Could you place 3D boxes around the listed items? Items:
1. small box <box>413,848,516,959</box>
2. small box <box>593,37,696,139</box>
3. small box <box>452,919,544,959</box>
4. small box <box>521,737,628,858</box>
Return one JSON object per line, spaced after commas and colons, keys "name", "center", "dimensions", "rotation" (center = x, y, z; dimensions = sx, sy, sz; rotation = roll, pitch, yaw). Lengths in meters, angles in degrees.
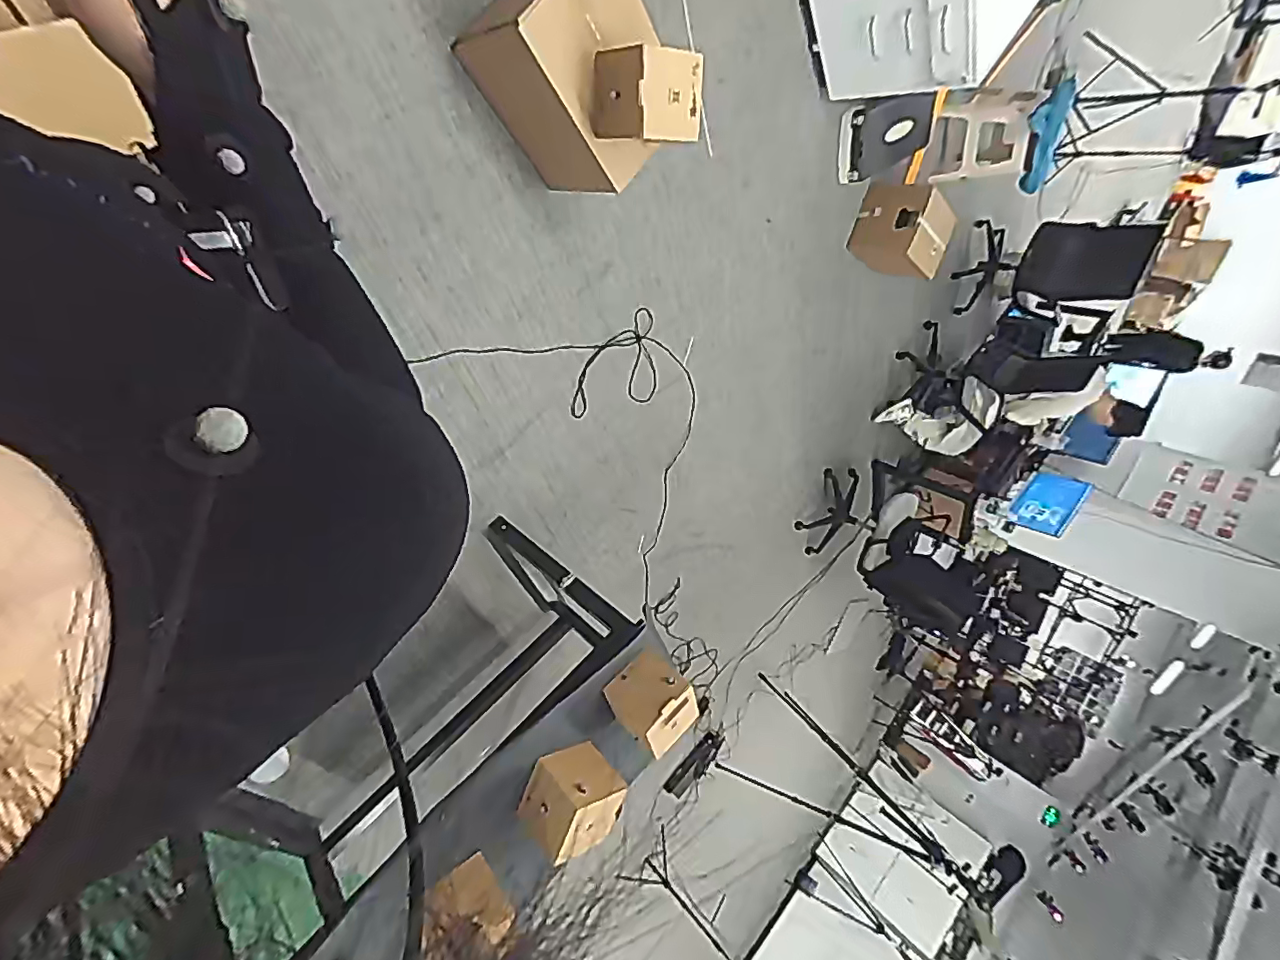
{"name": "small box", "center": [-0.402, 1.001, 1.229], "dimensions": [0.179, 0.176, 0.168], "rotation": [-17, 124, -41]}
{"name": "small box", "center": [0.004, -0.880, 1.230], "dimensions": [0.179, 0.176, 0.168], "rotation": [-22, 127, -34]}
{"name": "small box", "center": [-0.295, 1.053, 1.114], "dimensions": [0.168, 0.176, 0.179], "rotation": [-46, 138, -19]}
{"name": "small box", "center": [-0.167, 0.777, 1.345], "dimensions": [0.179, 0.176, 0.168], "rotation": [9, 106, -49]}
